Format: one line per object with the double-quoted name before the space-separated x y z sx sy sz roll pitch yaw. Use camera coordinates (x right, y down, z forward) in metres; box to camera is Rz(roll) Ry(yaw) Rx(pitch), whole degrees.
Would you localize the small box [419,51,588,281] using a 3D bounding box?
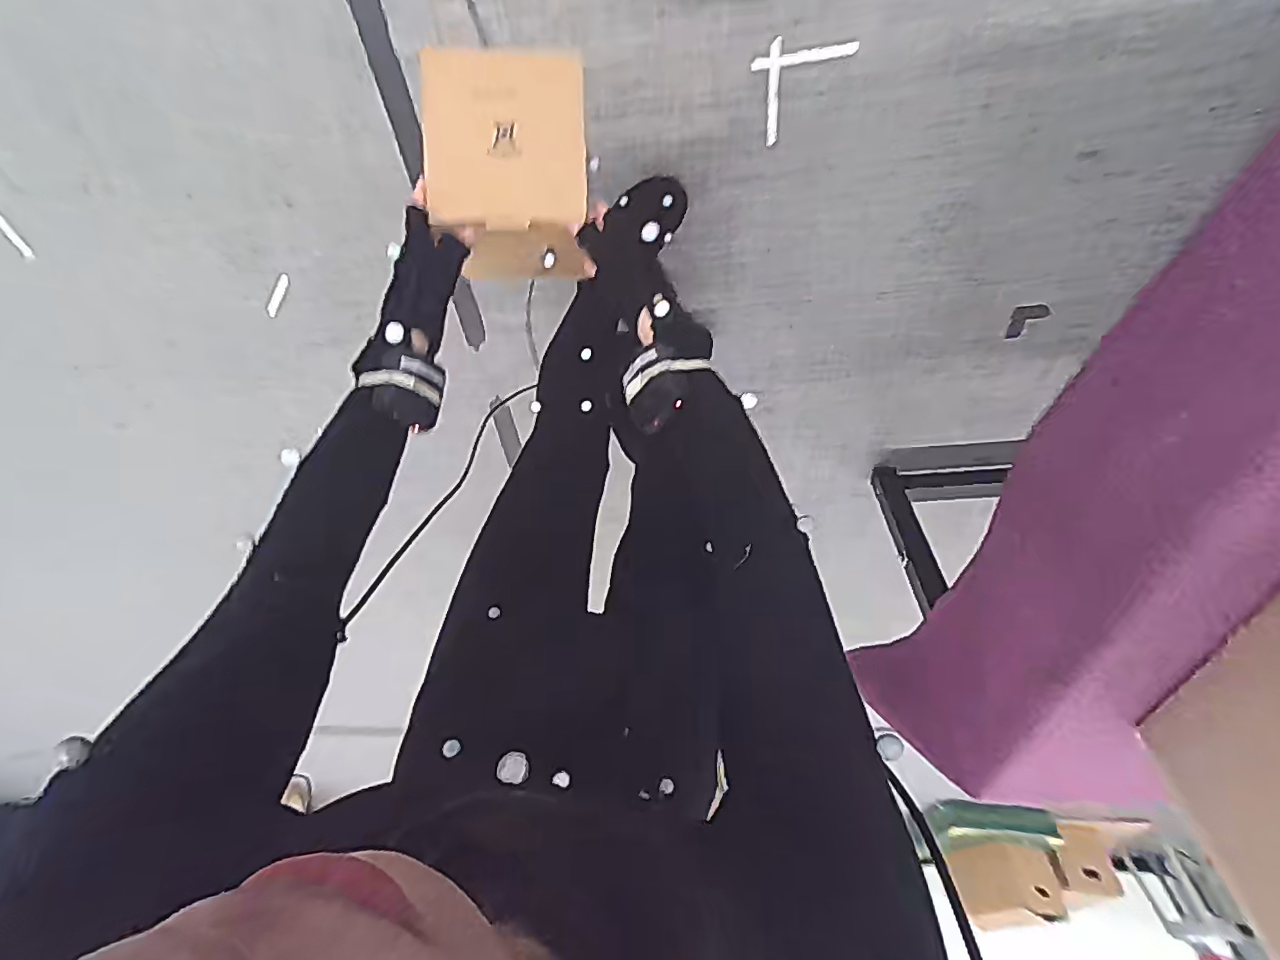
"small box" -0.144 -0.341 0.623 0.168 0.176 0.179 -2 91 -6
